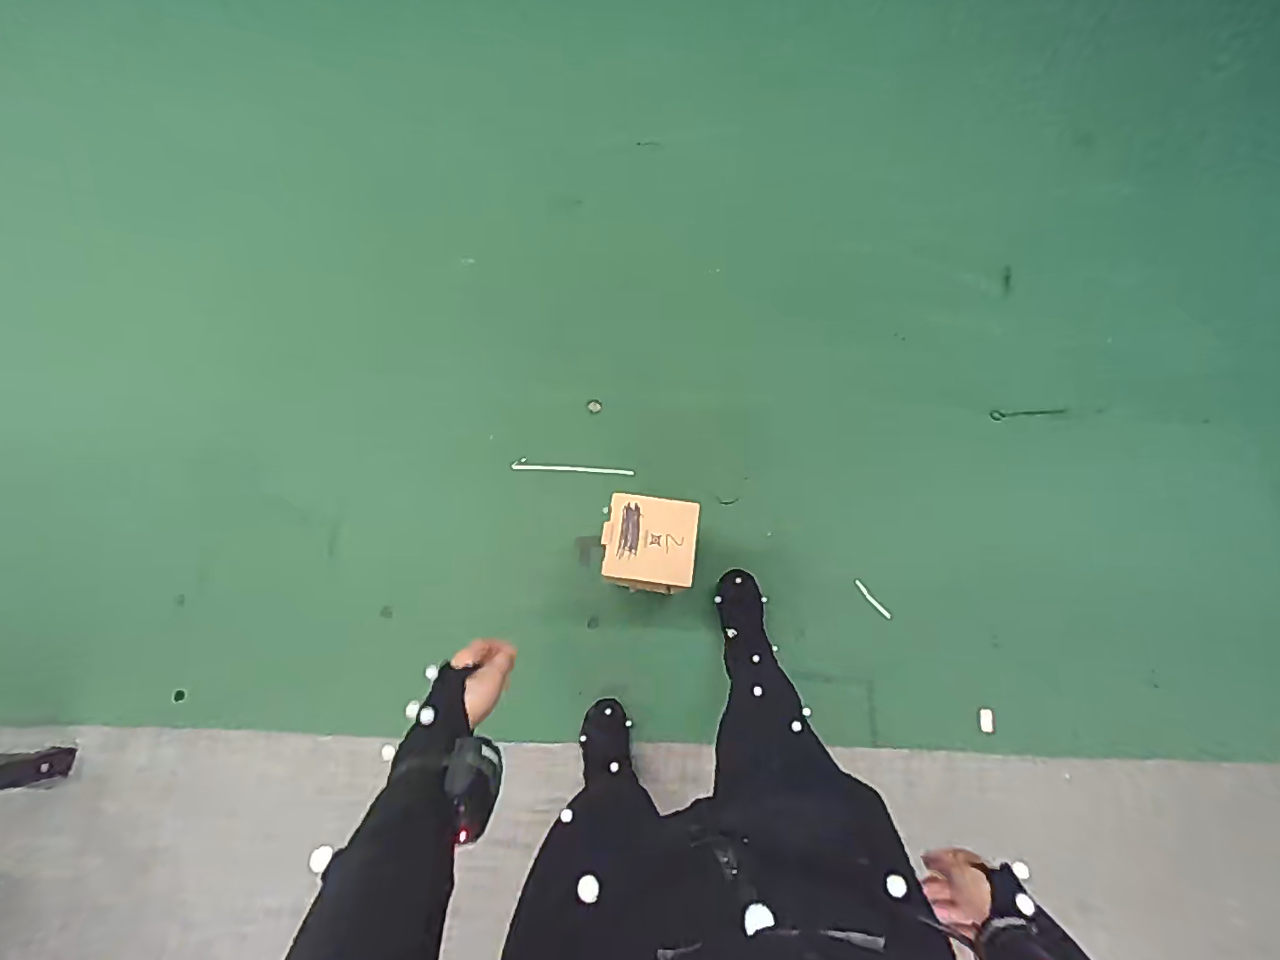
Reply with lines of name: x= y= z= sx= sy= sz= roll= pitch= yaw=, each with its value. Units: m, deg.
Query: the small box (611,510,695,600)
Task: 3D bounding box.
small box: x=0.029 y=0.183 z=1.276 sx=0.168 sy=0.176 sz=0.179 roll=10 pitch=75 yaw=0
